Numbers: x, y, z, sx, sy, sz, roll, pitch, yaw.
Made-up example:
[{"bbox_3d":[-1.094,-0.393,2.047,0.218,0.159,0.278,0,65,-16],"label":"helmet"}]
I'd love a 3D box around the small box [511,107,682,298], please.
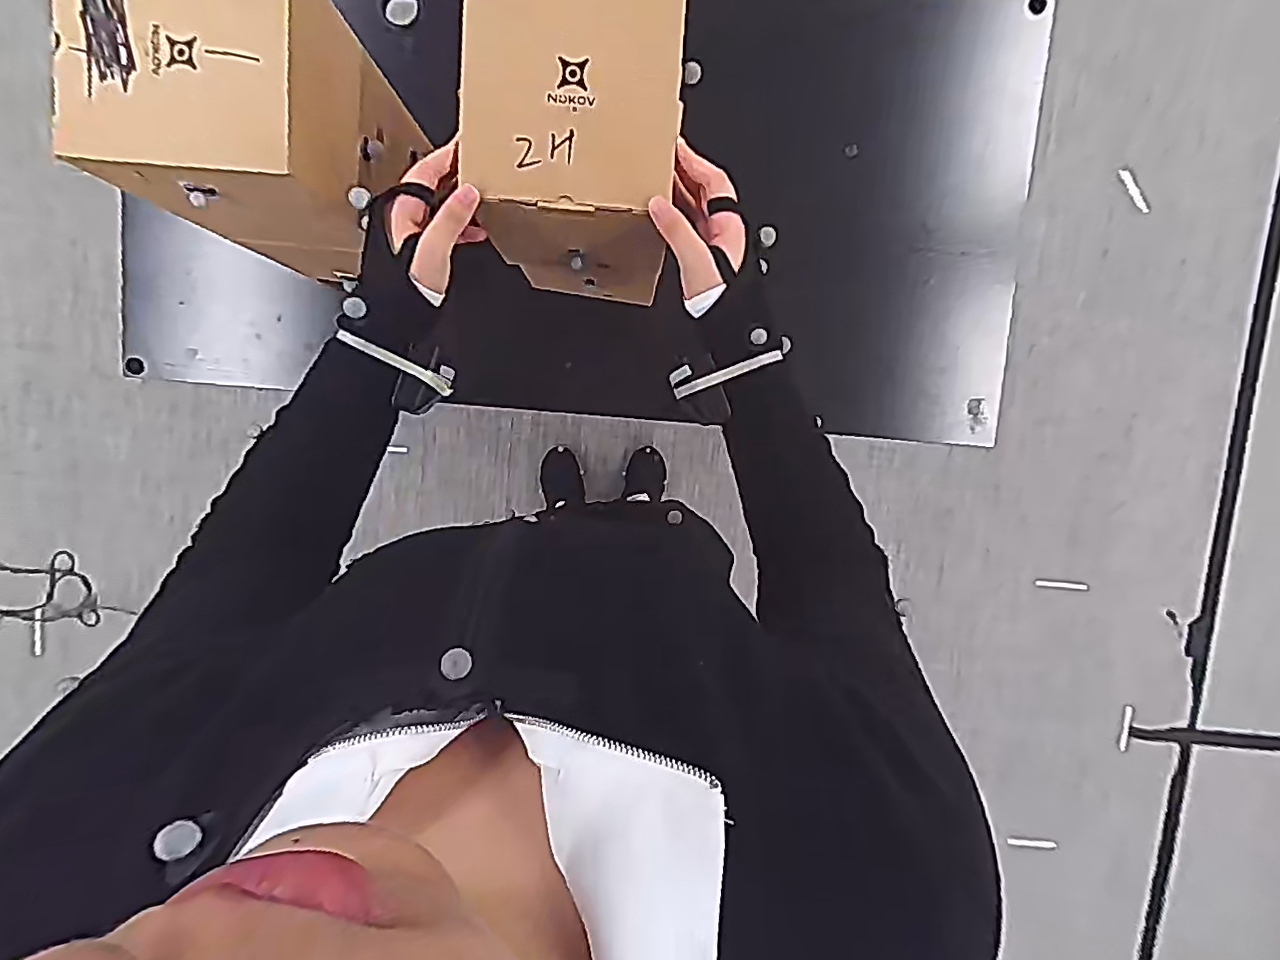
[{"bbox_3d":[-0.049,-0.331,0.650,0.168,0.176,0.179,8,96,-2],"label":"small box"}]

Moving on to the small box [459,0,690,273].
[{"bbox_3d":[-0.052,-0.306,0.486,0.168,0.176,0.179,4,95,-1],"label":"small box"}]

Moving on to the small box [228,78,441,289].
[{"bbox_3d":[-0.347,-0.343,0.641,0.168,0.176,0.179,5,96,-1],"label":"small box"}]

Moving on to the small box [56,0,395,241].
[{"bbox_3d":[-0.343,-0.326,0.478,0.179,0.176,0.168,4,95,-2],"label":"small box"}]
